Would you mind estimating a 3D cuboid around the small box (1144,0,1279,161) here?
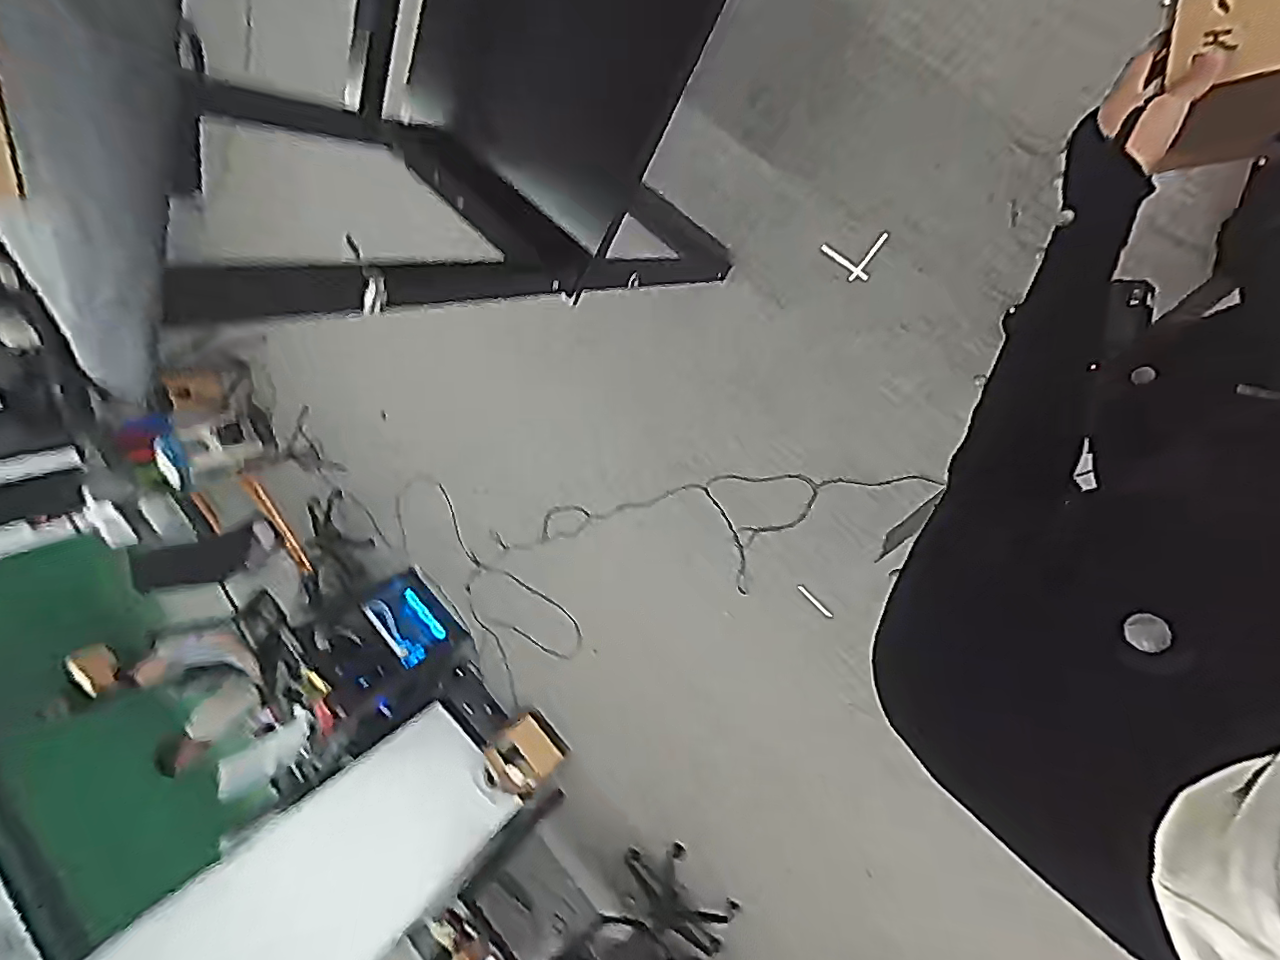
[{"bbox_3d":[0.539,-0.383,0.426,0.179,0.176,0.168,12,100,37],"label":"small box"}]
